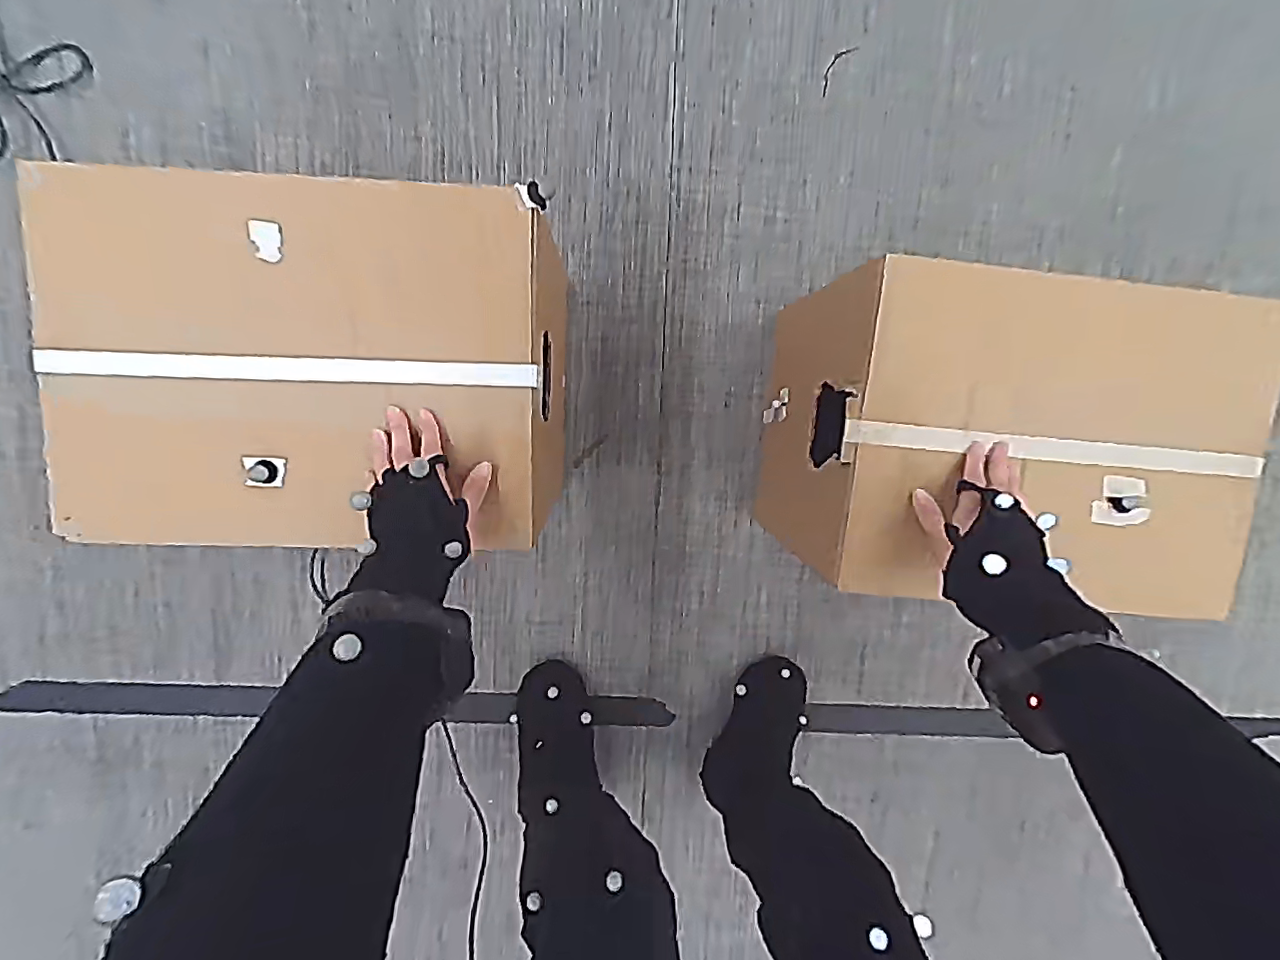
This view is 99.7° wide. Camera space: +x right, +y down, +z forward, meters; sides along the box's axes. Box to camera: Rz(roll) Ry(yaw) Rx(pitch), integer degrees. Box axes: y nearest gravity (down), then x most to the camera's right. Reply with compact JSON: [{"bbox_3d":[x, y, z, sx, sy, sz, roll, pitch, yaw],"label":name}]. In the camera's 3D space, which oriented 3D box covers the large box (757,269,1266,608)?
[{"bbox_3d":[0.391,-0.050,0.677,0.408,0.320,0.320,5,98,-5],"label":"large box"}]
